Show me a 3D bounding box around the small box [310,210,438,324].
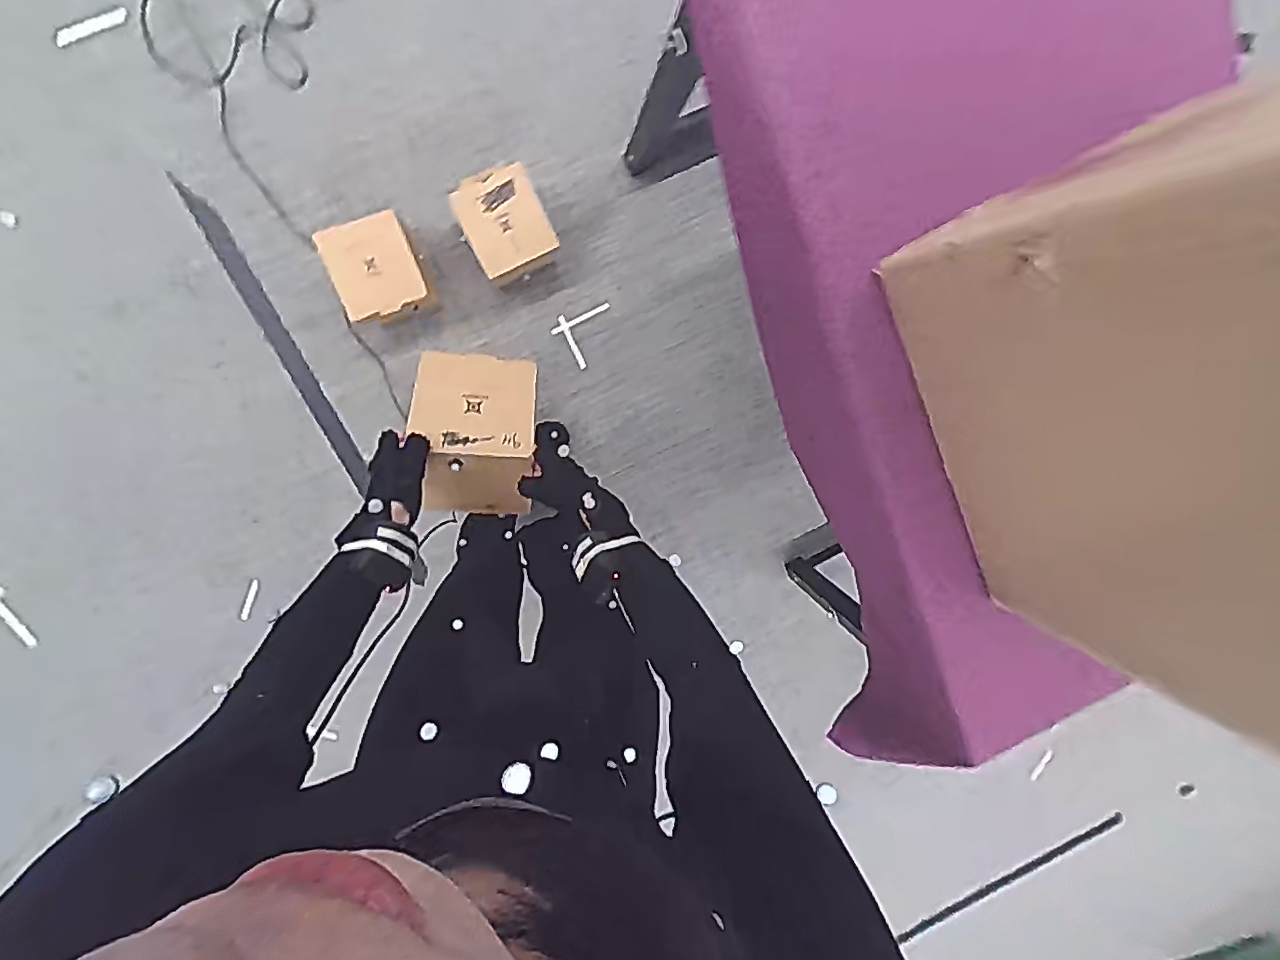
[{"bbox_3d":[-0.550,-0.439,1.147,0.168,0.176,0.179,-21,104,-6],"label":"small box"}]

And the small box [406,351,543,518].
[{"bbox_3d":[-0.236,-0.062,0.802,0.168,0.176,0.179,3,58,-12],"label":"small box"}]

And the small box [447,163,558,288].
[{"bbox_3d":[-0.290,-0.538,1.167,0.168,0.176,0.179,-27,106,-3],"label":"small box"}]
